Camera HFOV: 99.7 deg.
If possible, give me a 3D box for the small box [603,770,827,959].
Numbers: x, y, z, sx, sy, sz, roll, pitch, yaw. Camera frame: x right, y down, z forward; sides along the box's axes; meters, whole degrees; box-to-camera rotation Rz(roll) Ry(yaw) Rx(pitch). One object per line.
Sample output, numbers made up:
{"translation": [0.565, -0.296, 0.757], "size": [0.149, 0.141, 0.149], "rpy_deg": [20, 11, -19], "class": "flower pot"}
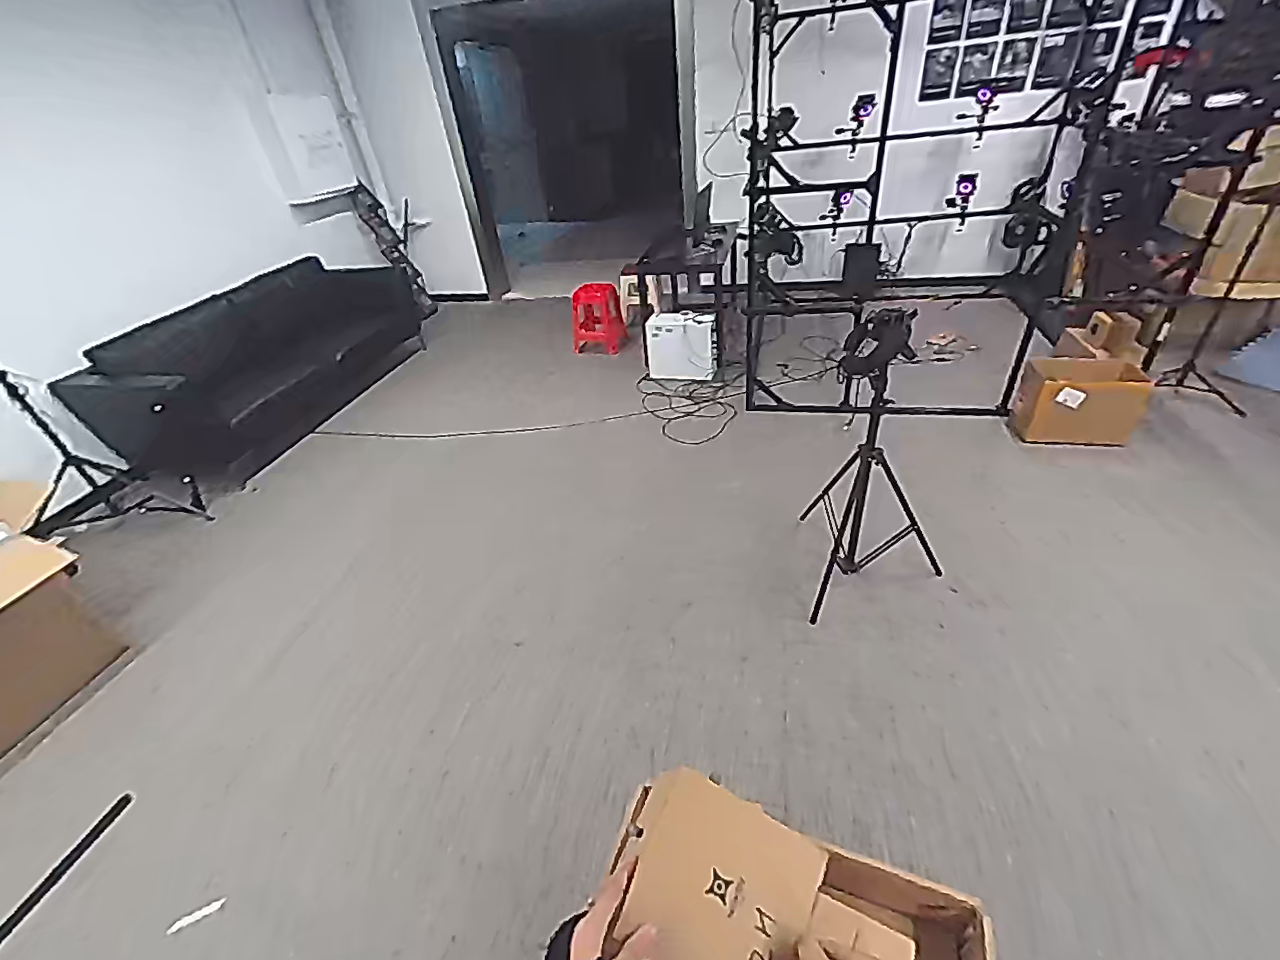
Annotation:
{"translation": [0.071, 0.454, 0.601], "size": [0.179, 0.176, 0.168], "rpy_deg": [28, 59, 8], "class": "small box"}
